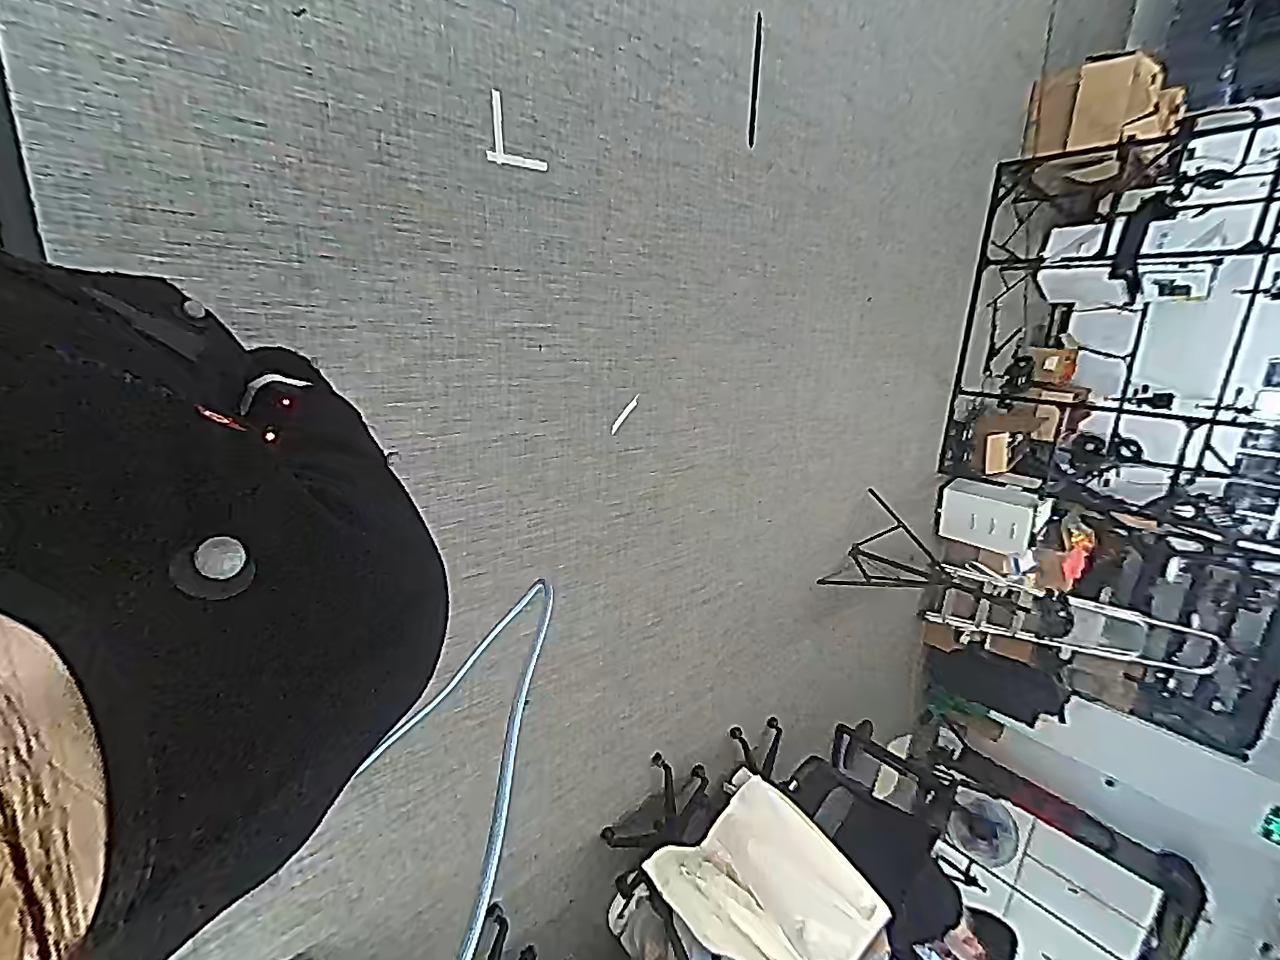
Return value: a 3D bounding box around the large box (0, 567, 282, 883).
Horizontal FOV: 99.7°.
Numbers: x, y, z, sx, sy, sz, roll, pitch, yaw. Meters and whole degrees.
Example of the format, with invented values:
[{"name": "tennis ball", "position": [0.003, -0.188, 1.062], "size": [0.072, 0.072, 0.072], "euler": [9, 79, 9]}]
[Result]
[{"name": "large box", "position": [-0.949, 0.401, 0.995], "size": [0.408, 0.320, 0.320], "euler": [-15, 114, -39]}]
